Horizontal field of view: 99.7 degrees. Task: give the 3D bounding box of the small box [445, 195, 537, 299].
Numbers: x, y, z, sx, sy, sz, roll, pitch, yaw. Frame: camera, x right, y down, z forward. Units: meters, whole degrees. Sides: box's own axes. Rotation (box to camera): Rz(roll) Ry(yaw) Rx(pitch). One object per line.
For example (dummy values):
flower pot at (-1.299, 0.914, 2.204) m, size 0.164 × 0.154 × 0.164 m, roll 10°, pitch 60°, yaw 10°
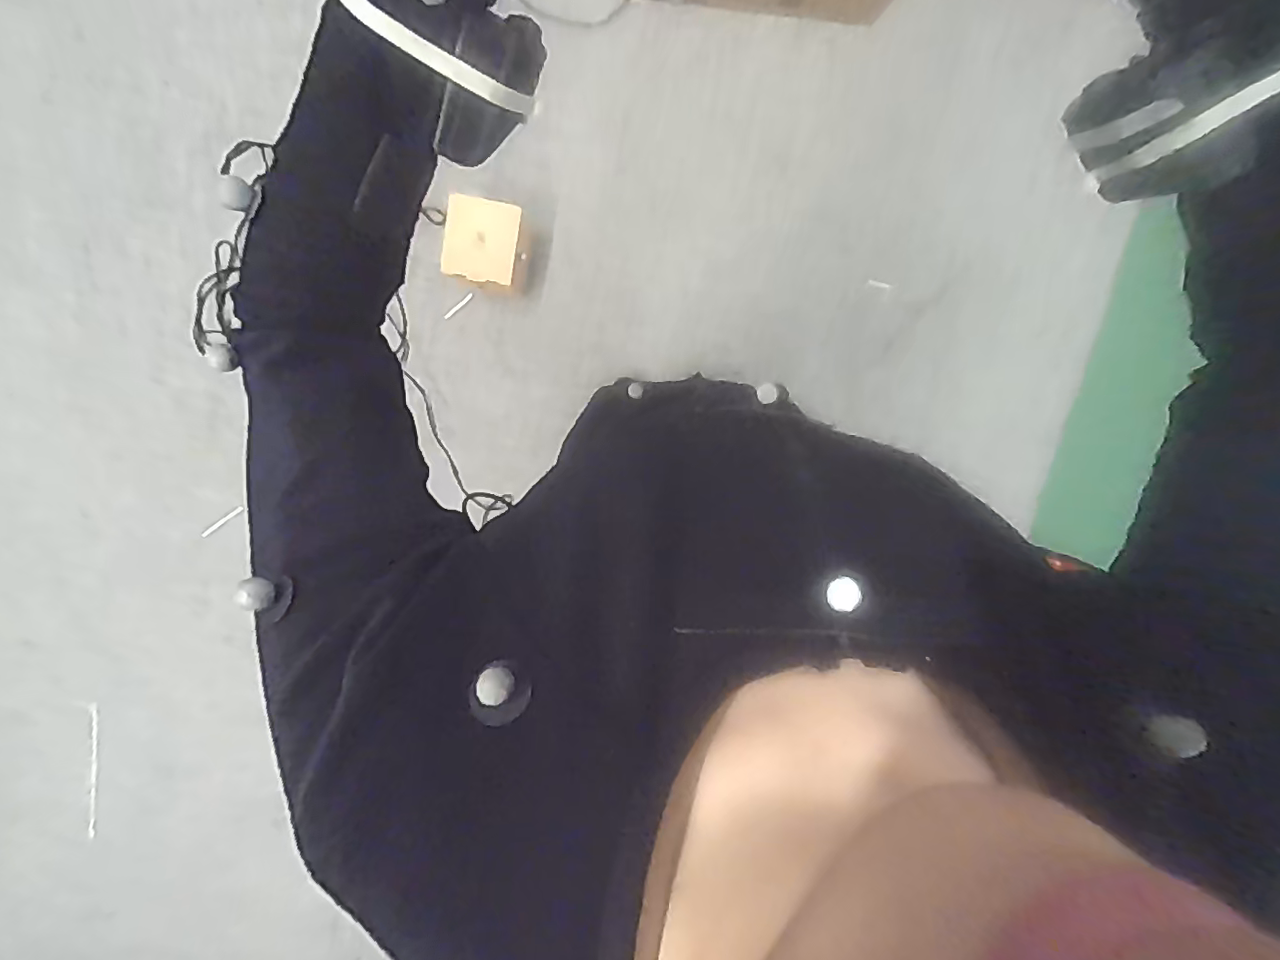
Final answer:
small box at (-0.352, -0.554, 1.305) m, size 0.168 × 0.176 × 0.179 m, roll 11°, pitch 100°, yaw -2°
